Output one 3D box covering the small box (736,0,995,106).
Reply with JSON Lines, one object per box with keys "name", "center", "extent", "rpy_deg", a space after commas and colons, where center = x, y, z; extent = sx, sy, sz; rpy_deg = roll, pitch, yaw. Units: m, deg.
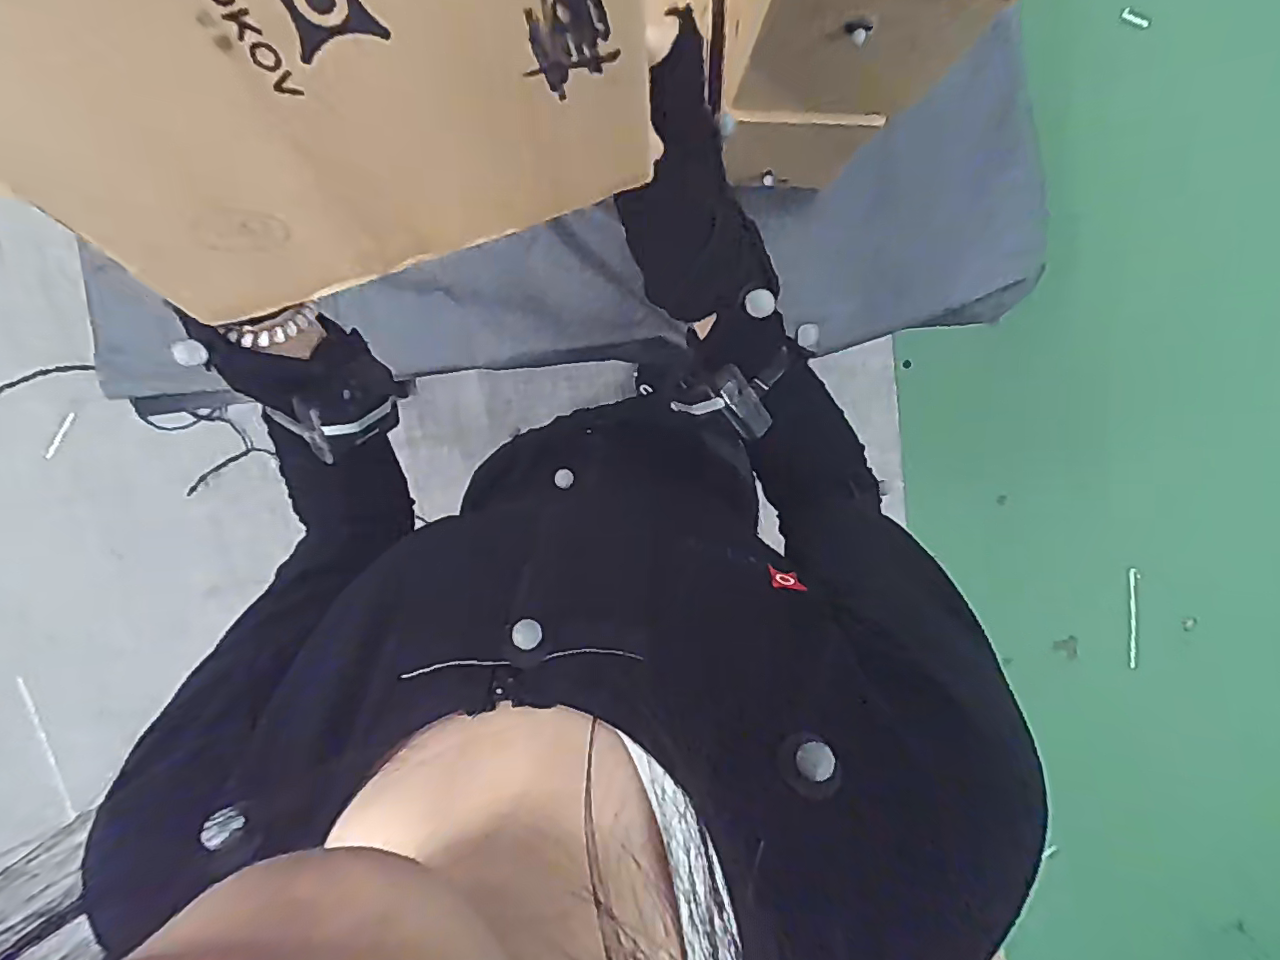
{"name": "small box", "center": [0.182, -0.441, 0.446], "extent": [0.179, 0.176, 0.168], "rpy_deg": [1, 99, -3]}
